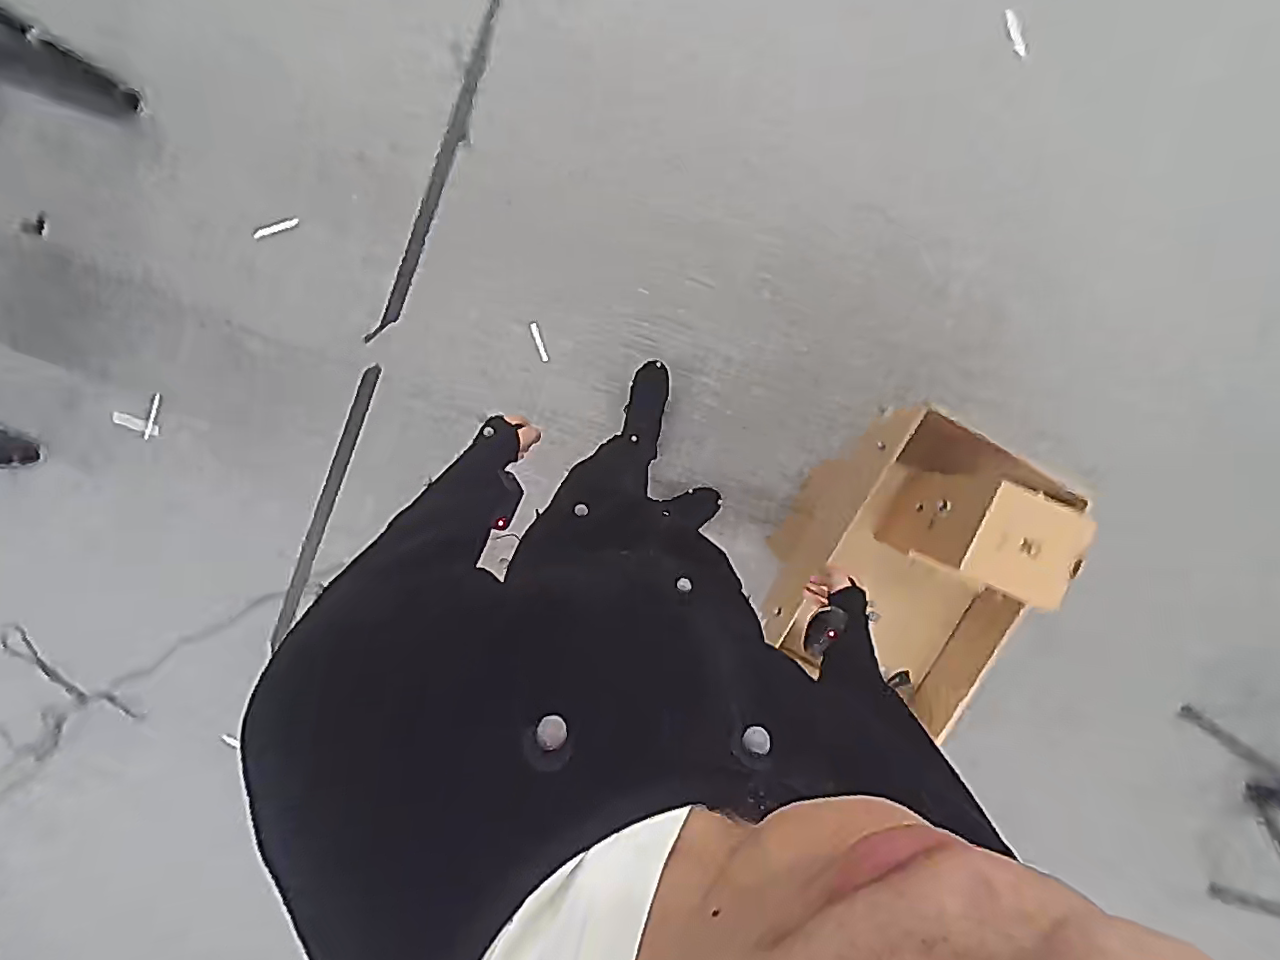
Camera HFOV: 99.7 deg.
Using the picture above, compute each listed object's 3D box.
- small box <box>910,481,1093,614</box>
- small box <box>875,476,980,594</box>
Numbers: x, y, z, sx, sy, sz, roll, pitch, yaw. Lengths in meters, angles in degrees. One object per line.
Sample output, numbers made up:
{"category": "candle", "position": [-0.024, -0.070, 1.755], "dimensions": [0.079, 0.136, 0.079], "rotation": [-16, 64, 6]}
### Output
{"category": "small box", "position": [0.627, 0.108, 0.963], "dimensions": [0.179, 0.176, 0.168], "rotation": [25, 94, -1]}
{"category": "small box", "position": [0.625, 0.104, 1.127], "dimensions": [0.168, 0.176, 0.179], "rotation": [27, 95, 0]}
